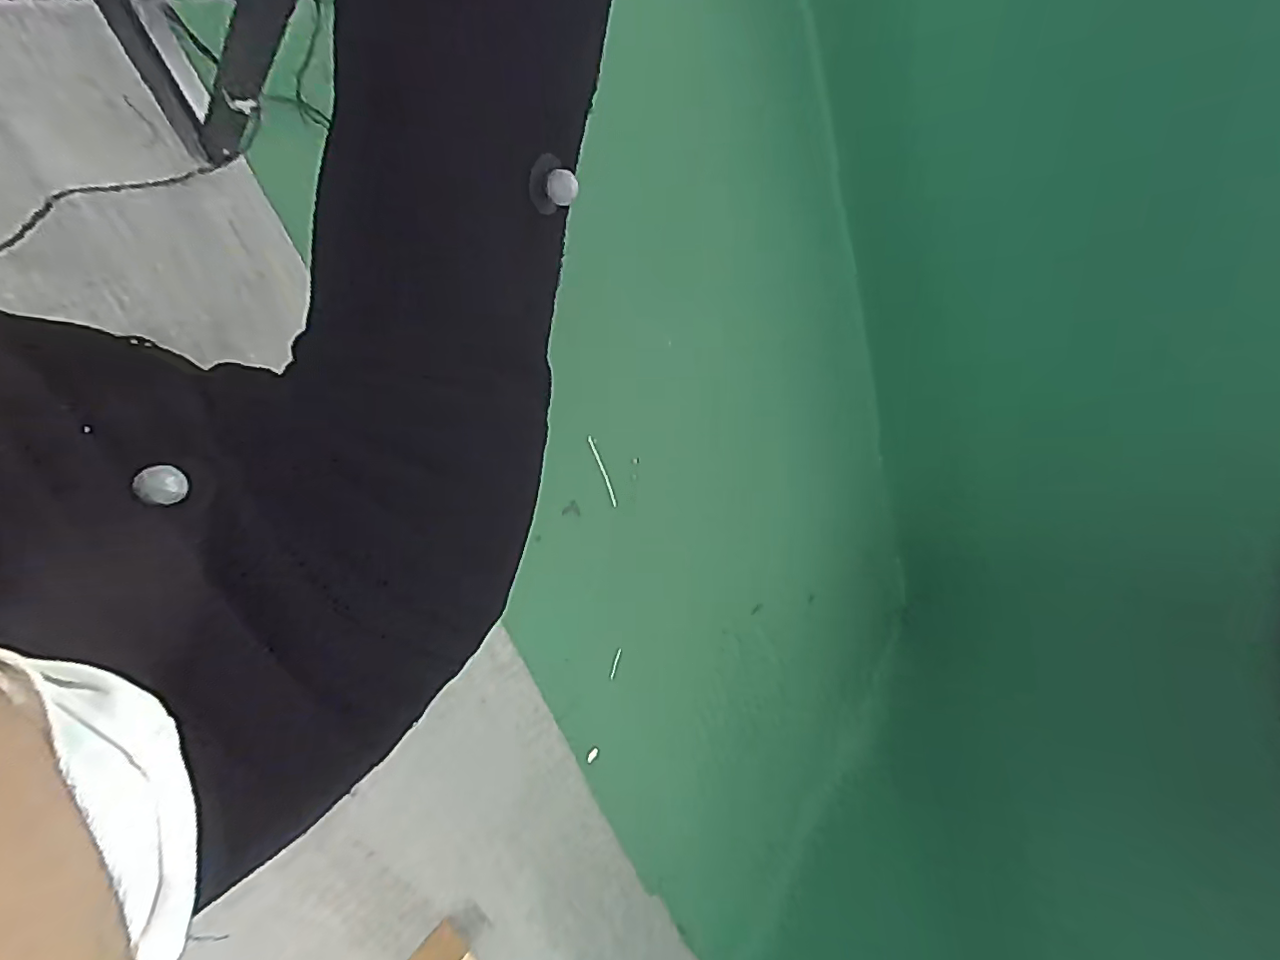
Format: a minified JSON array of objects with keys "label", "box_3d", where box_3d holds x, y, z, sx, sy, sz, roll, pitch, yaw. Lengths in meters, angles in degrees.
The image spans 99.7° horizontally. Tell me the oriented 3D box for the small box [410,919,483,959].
[{"label":"small box","box_3d":[-0.620,1.582,1.742,0.179,0.176,0.168,-38,118,-35]}]
